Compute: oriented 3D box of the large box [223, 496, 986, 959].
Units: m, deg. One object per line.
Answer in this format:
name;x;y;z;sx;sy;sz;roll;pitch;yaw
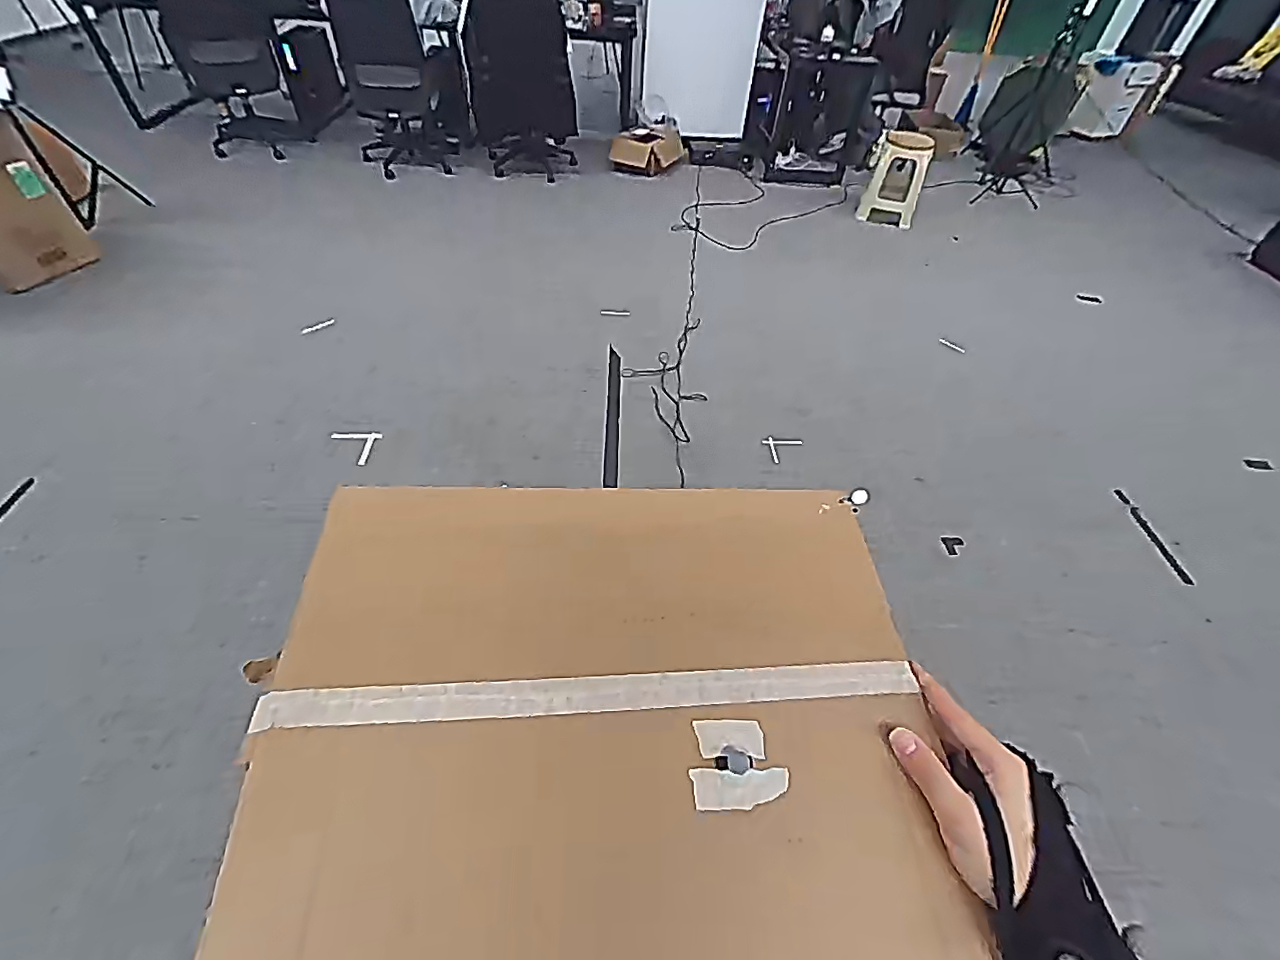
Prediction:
large box;-0.035;0.225;0.471;0.408;0.320;0.320;1;55;-9
